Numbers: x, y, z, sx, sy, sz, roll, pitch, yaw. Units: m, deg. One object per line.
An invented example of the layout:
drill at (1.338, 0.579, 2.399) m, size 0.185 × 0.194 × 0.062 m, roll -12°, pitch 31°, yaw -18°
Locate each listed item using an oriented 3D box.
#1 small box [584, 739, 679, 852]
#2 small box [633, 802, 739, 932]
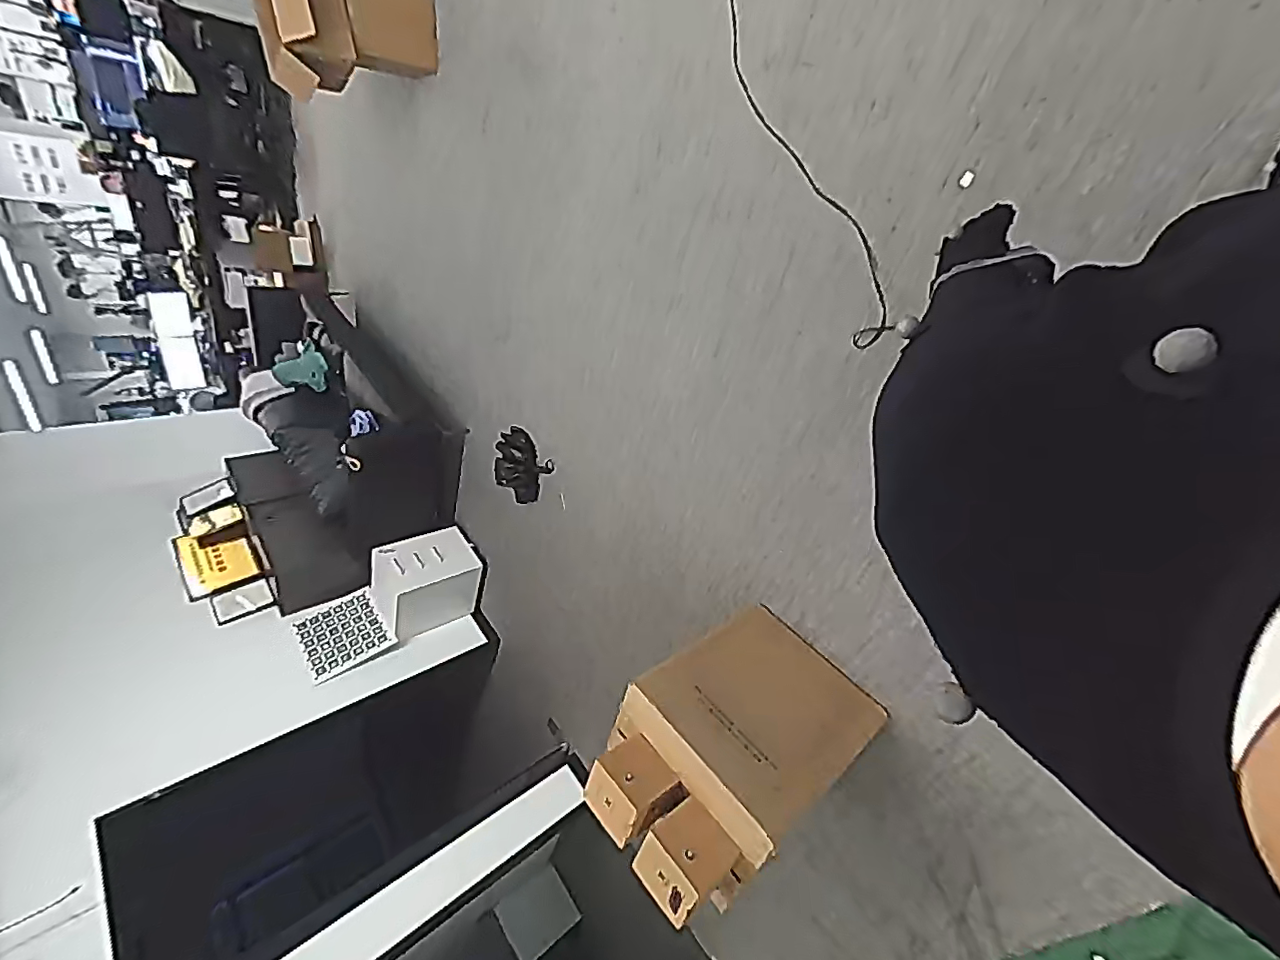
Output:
small box at (-0.022, 0.851, 1.479) m, size 0.179 × 0.176 × 0.168 m, roll 37°, pitch 121°, yaw 36°
small box at (0.117, 0.960, 1.358) m, size 0.179 × 0.176 × 0.168 m, roll 38°, pitch 122°, yaw 35°
